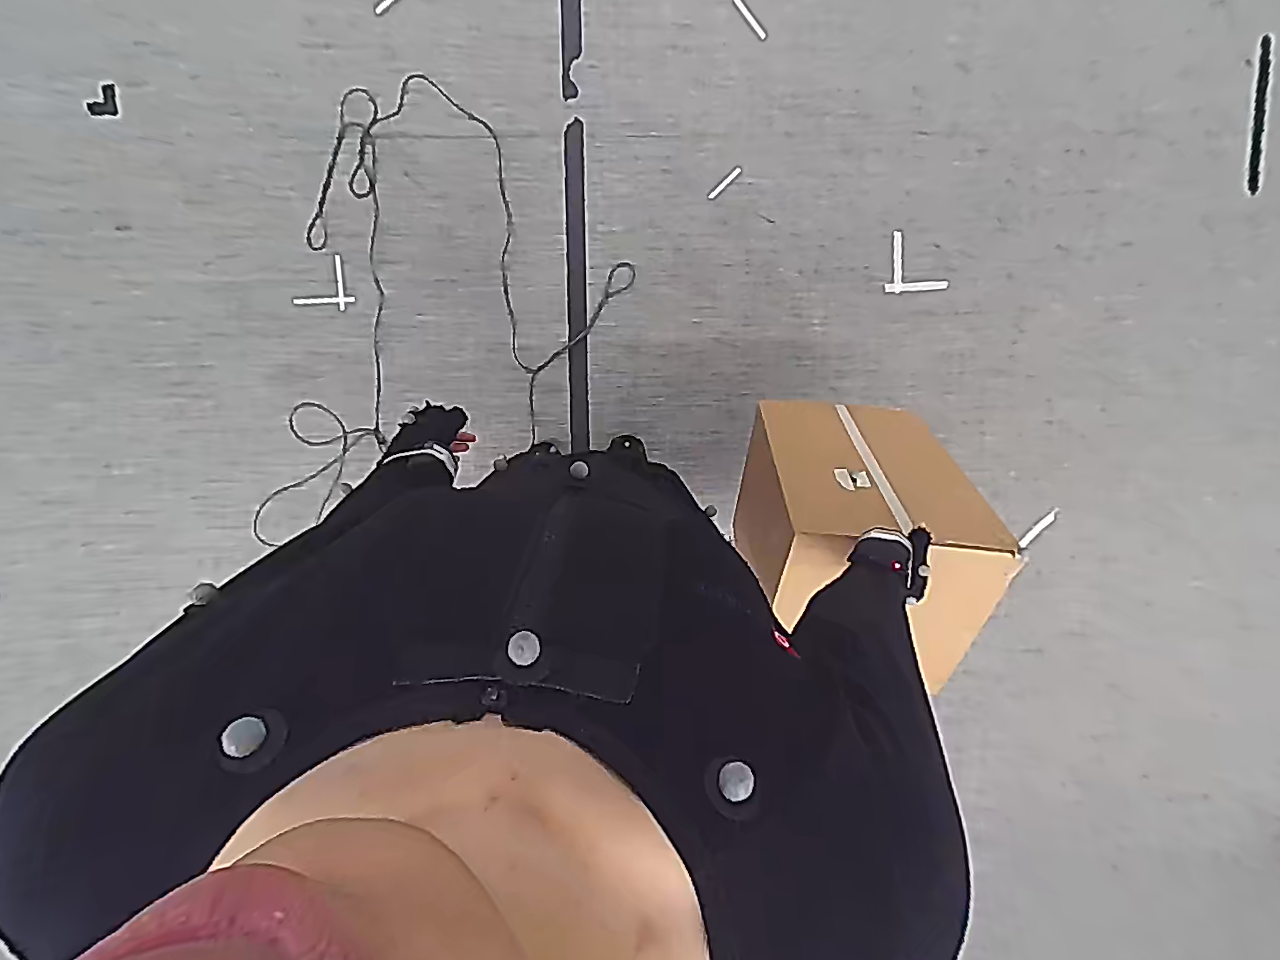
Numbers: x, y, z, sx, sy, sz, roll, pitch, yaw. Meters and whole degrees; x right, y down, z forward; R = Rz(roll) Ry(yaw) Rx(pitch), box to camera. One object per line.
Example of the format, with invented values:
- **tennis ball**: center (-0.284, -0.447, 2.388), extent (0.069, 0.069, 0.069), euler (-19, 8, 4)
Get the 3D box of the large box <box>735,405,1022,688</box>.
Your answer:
- **large box**: center (0.369, 0.103, 0.984), extent (0.320, 0.408, 0.320), euler (5, 126, 1)
